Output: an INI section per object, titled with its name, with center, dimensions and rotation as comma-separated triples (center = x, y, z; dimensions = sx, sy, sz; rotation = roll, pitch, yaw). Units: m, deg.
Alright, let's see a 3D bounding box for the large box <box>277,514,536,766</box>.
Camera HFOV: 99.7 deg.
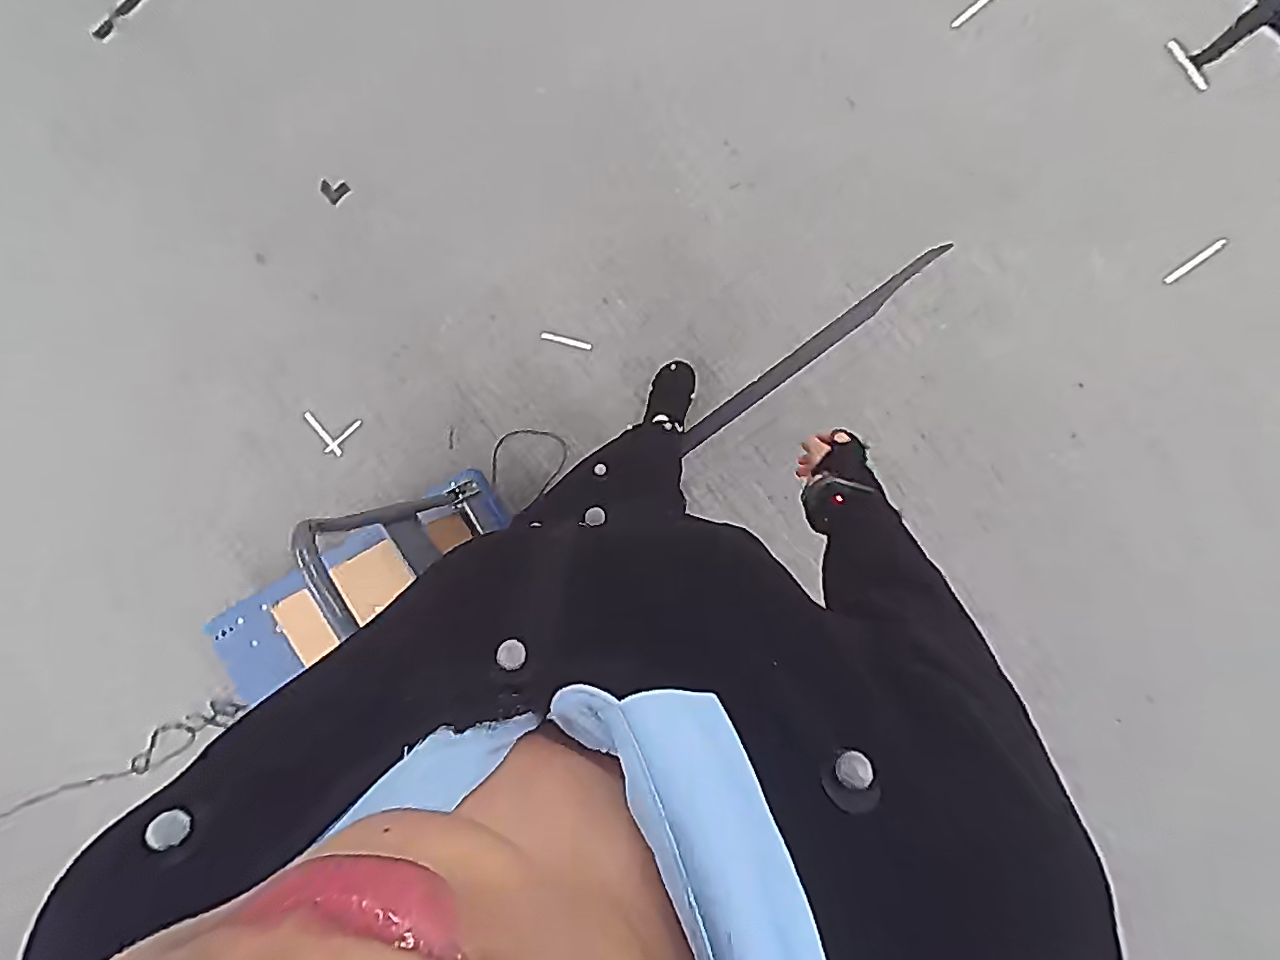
[large box]
center = -0.500, 0.339, 1.239
dimensions = 0.320, 0.320, 0.408
rotation = -30, 92, 6
